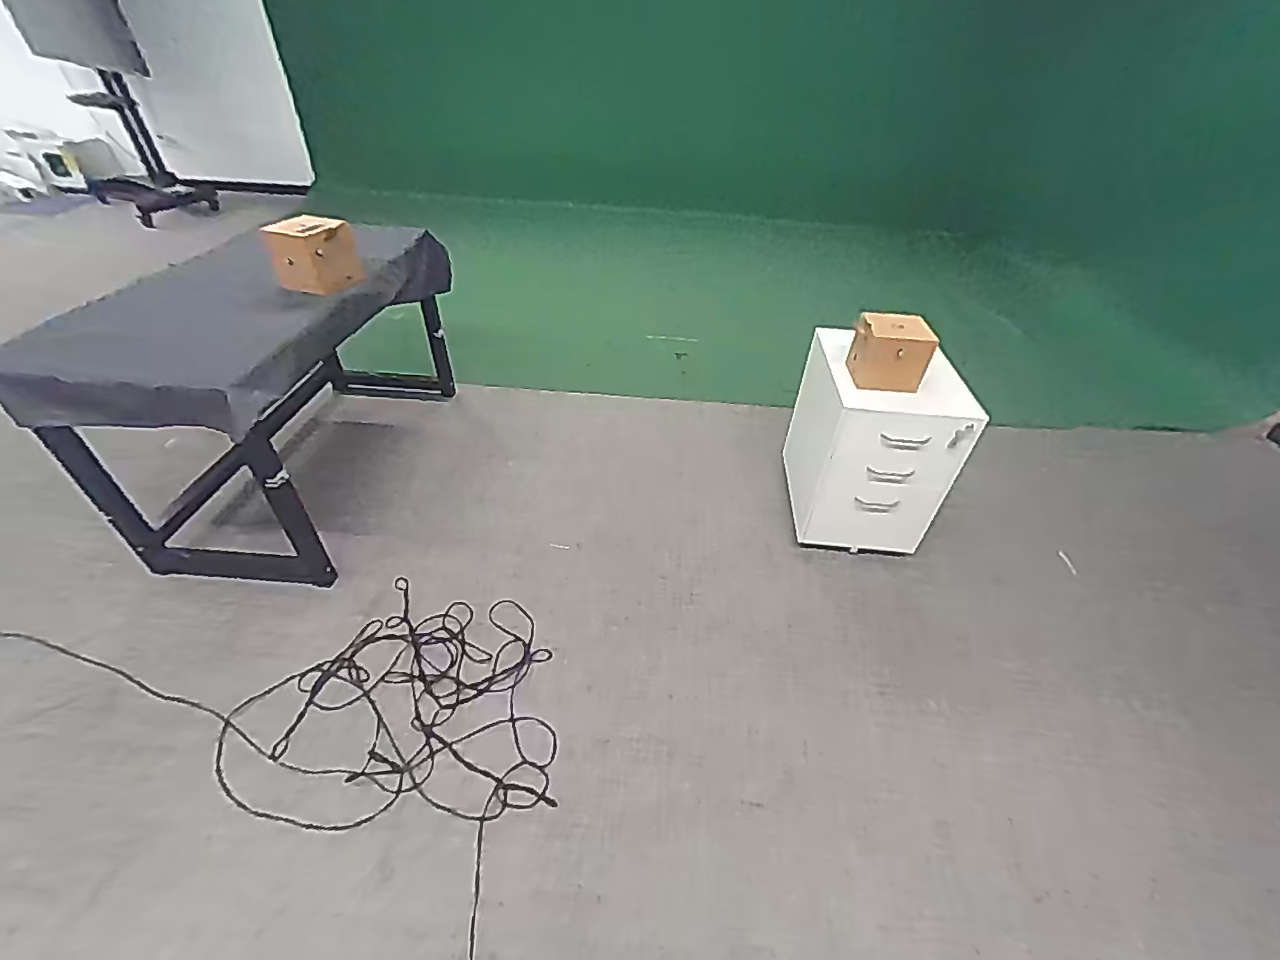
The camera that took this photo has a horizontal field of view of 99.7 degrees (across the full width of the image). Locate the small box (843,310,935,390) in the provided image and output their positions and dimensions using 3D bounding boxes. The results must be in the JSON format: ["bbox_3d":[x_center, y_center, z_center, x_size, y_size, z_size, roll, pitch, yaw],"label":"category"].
[{"bbox_3d":[0.715,-0.375,1.574,0.179,0.176,0.168,4,41,1],"label":"small box"}]
